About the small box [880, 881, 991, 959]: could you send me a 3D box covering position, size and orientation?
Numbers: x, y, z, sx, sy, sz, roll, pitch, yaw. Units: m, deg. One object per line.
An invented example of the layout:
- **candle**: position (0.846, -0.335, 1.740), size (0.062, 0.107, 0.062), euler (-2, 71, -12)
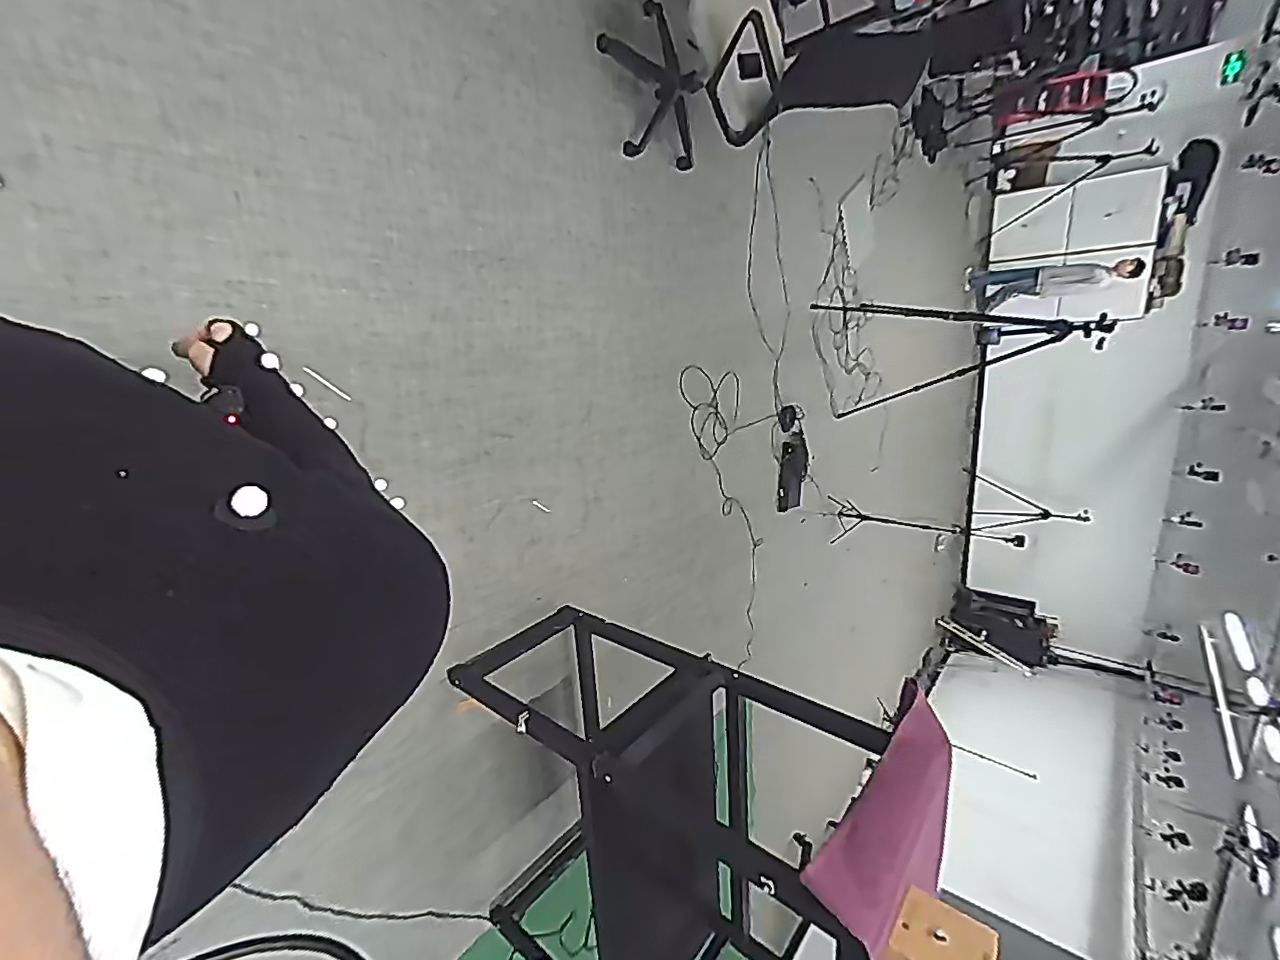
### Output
- **small box**: position (0.595, 0.970, 1.100), size (0.168, 0.176, 0.179), euler (-16, 110, -47)
